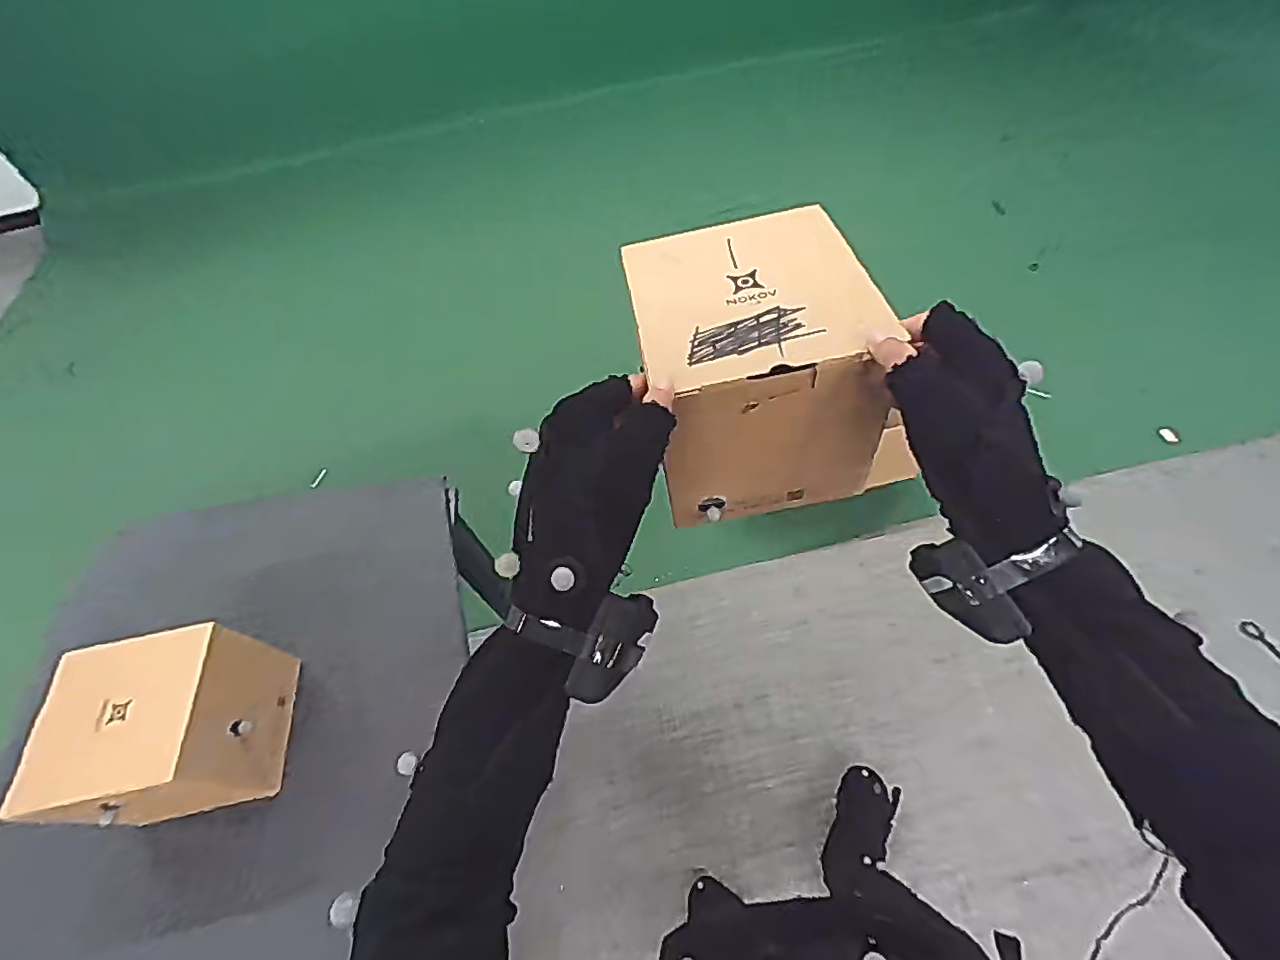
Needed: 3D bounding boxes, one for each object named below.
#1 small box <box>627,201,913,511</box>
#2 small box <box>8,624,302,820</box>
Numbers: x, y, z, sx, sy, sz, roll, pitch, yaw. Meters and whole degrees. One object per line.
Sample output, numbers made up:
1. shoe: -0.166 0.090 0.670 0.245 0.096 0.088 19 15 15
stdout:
1. small box: 0.092 -0.089 0.445 0.168 0.176 0.179 -11 54 3
2. small box: -0.541 0.289 0.640 0.179 0.176 0.168 -13 57 0
